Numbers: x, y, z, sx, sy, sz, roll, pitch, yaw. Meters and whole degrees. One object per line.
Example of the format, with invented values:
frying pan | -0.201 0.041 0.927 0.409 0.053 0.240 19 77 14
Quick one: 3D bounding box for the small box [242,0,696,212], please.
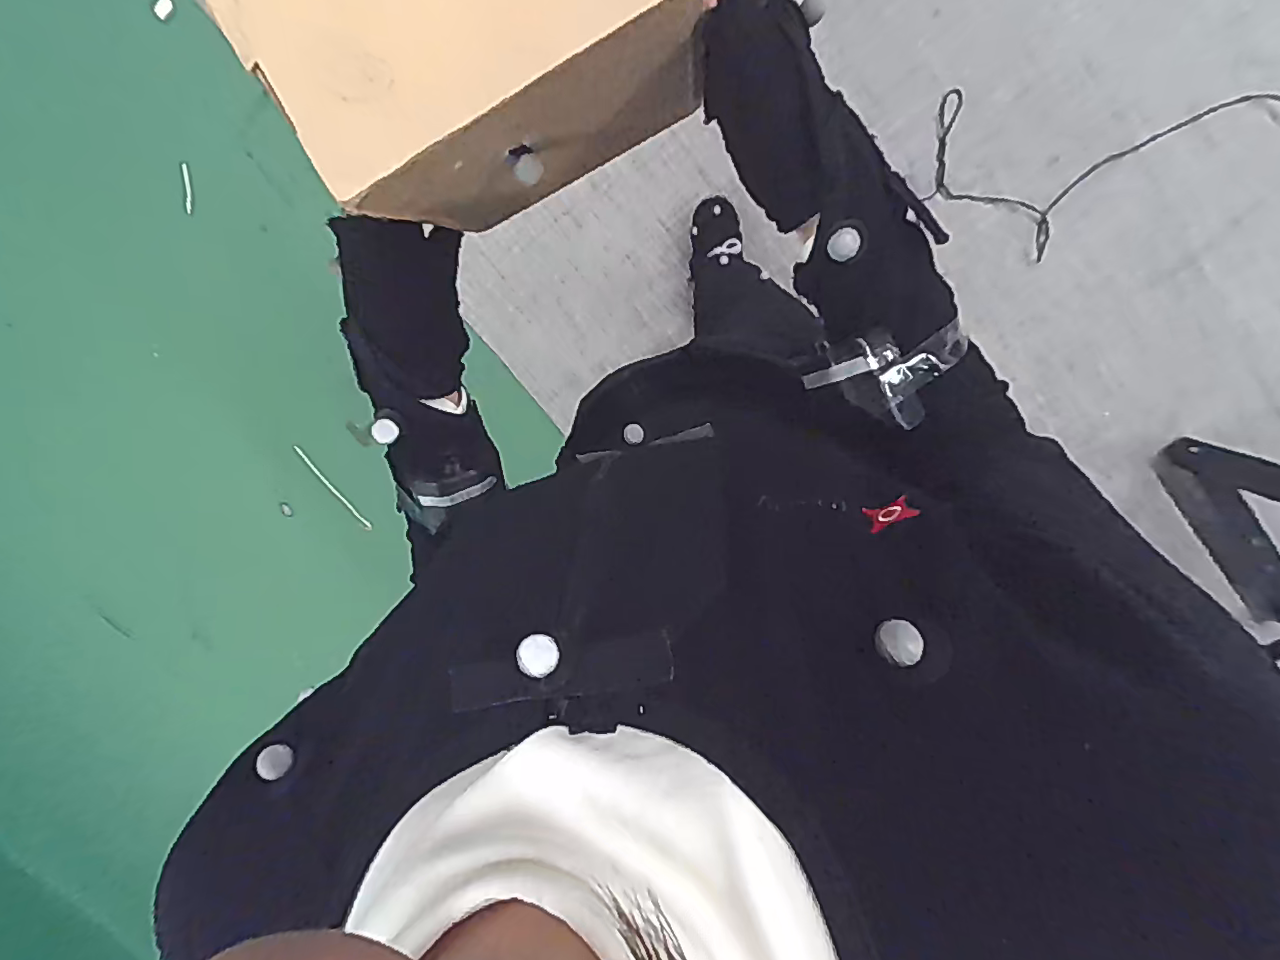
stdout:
small box | -0.082 -0.264 0.275 0.179 0.176 0.168 -25 104 14
